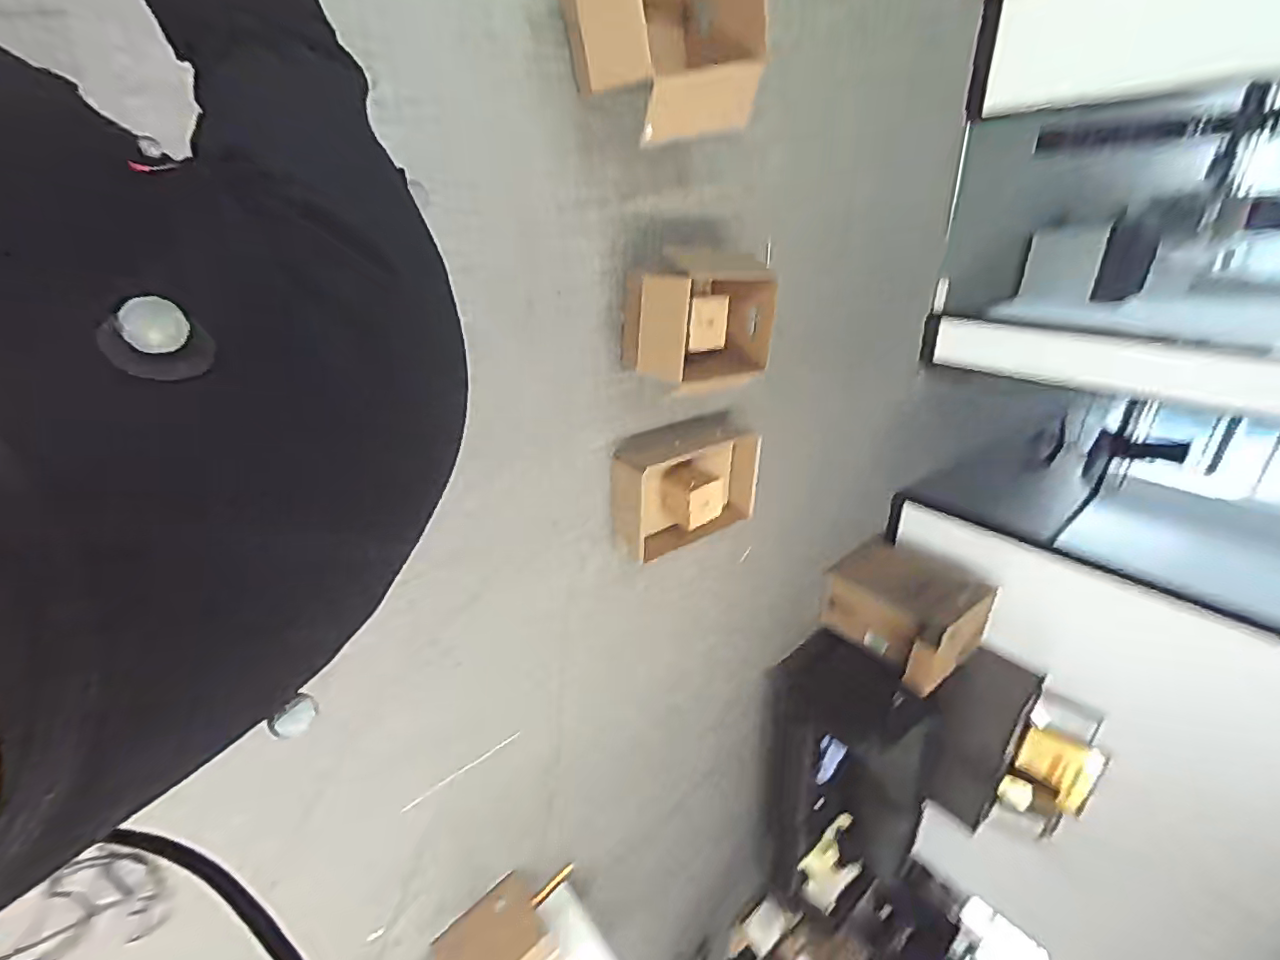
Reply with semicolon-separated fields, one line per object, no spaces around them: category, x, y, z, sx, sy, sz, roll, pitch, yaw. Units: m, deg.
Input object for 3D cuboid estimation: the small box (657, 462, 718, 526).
small box;0.184;0.048;2.107;0.179;0.176;0.168;-23;125;-32
